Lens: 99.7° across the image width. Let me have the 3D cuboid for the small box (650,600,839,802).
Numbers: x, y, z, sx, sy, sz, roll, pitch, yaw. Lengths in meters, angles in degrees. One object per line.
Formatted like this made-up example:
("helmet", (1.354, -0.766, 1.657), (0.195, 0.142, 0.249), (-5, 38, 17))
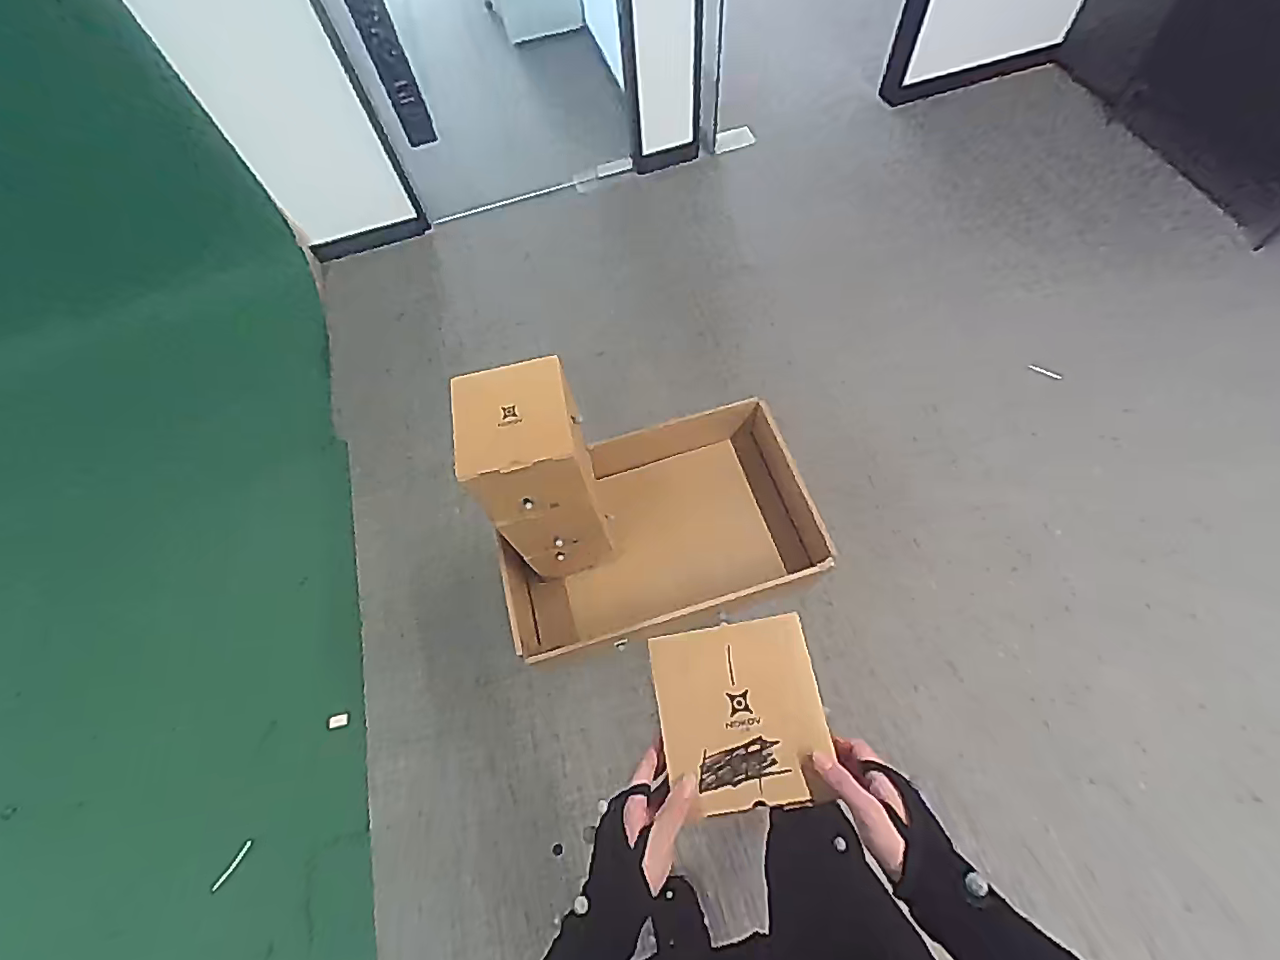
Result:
("small box", (0.111, 0.249, 0.624), (0.168, 0.176, 0.179), (-10, 67, 3))

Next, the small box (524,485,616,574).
("small box", (-0.153, 0.075, 1.128), (0.168, 0.176, 0.179), (-15, 64, -3))

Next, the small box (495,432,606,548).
("small box", (-0.164, 0.003, 0.981), (0.168, 0.176, 0.179), (-13, 64, -1))

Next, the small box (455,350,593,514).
("small box", (-0.174, -0.068, 0.835), (0.168, 0.176, 0.179), (-12, 65, -1))
